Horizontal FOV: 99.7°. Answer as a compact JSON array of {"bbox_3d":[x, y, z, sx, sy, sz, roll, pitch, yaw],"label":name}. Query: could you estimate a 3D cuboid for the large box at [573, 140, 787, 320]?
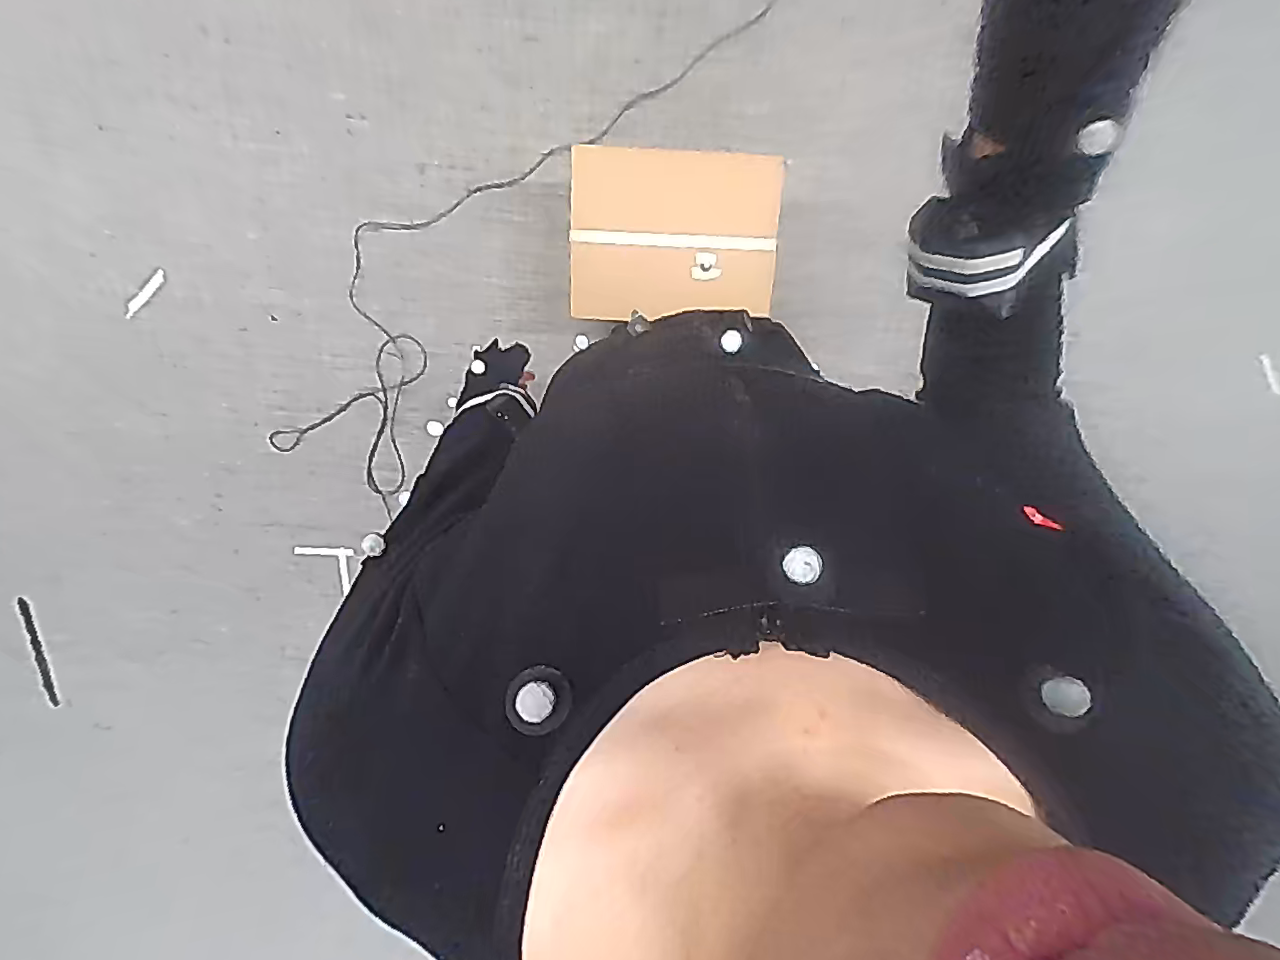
[{"bbox_3d":[0.068,-0.518,1.186,0.408,0.320,0.320,2,108,-1],"label":"large box"}]
